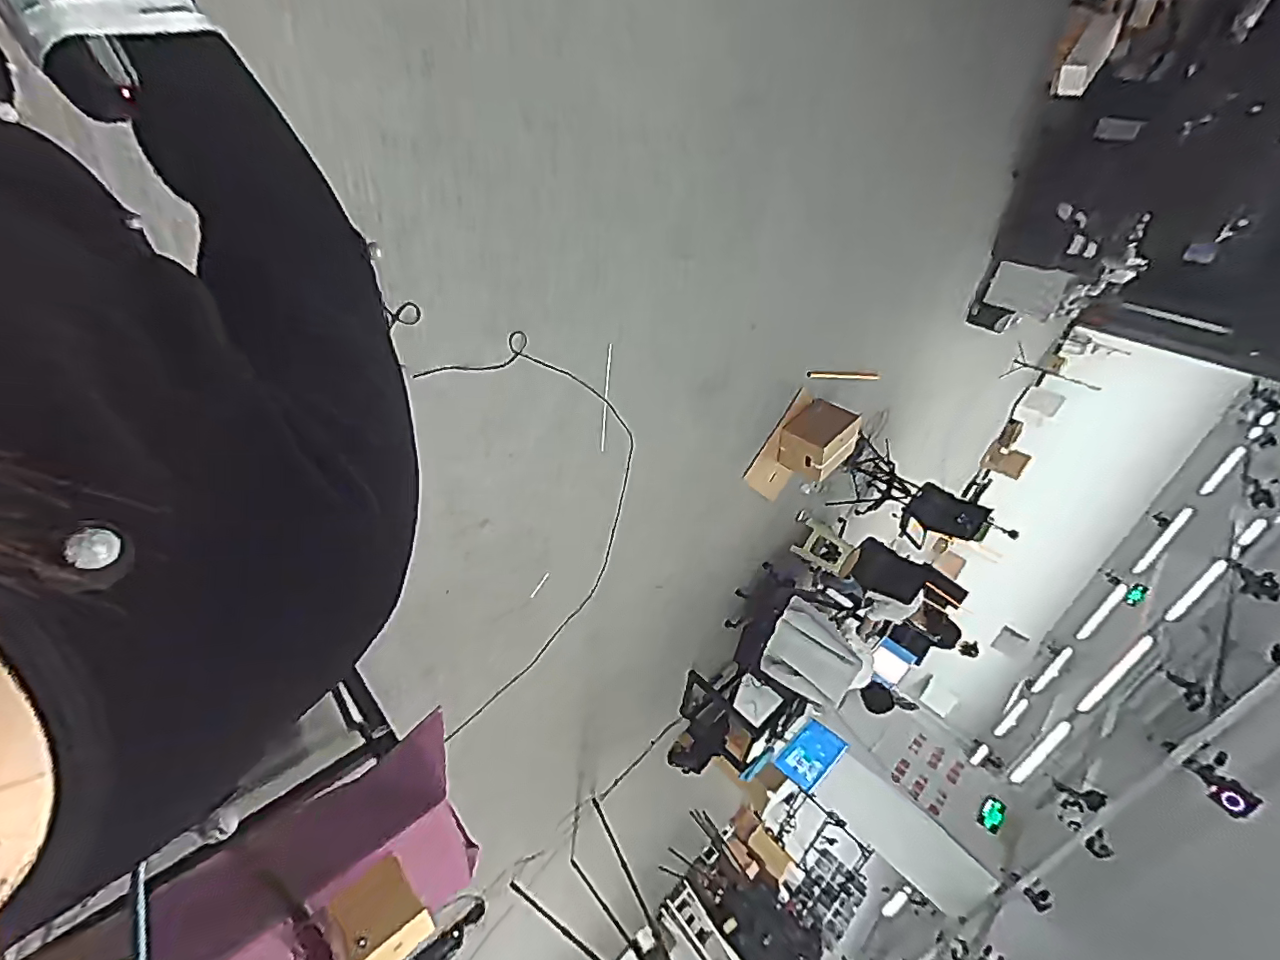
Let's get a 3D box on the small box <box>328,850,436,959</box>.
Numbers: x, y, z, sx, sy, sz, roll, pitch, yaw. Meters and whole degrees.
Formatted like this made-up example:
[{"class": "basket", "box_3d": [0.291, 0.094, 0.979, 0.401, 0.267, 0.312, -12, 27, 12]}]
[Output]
[{"class": "small box", "box_3d": [-0.634, 1.067, 1.334, 0.179, 0.176, 0.168, -25, 137, -35]}]
